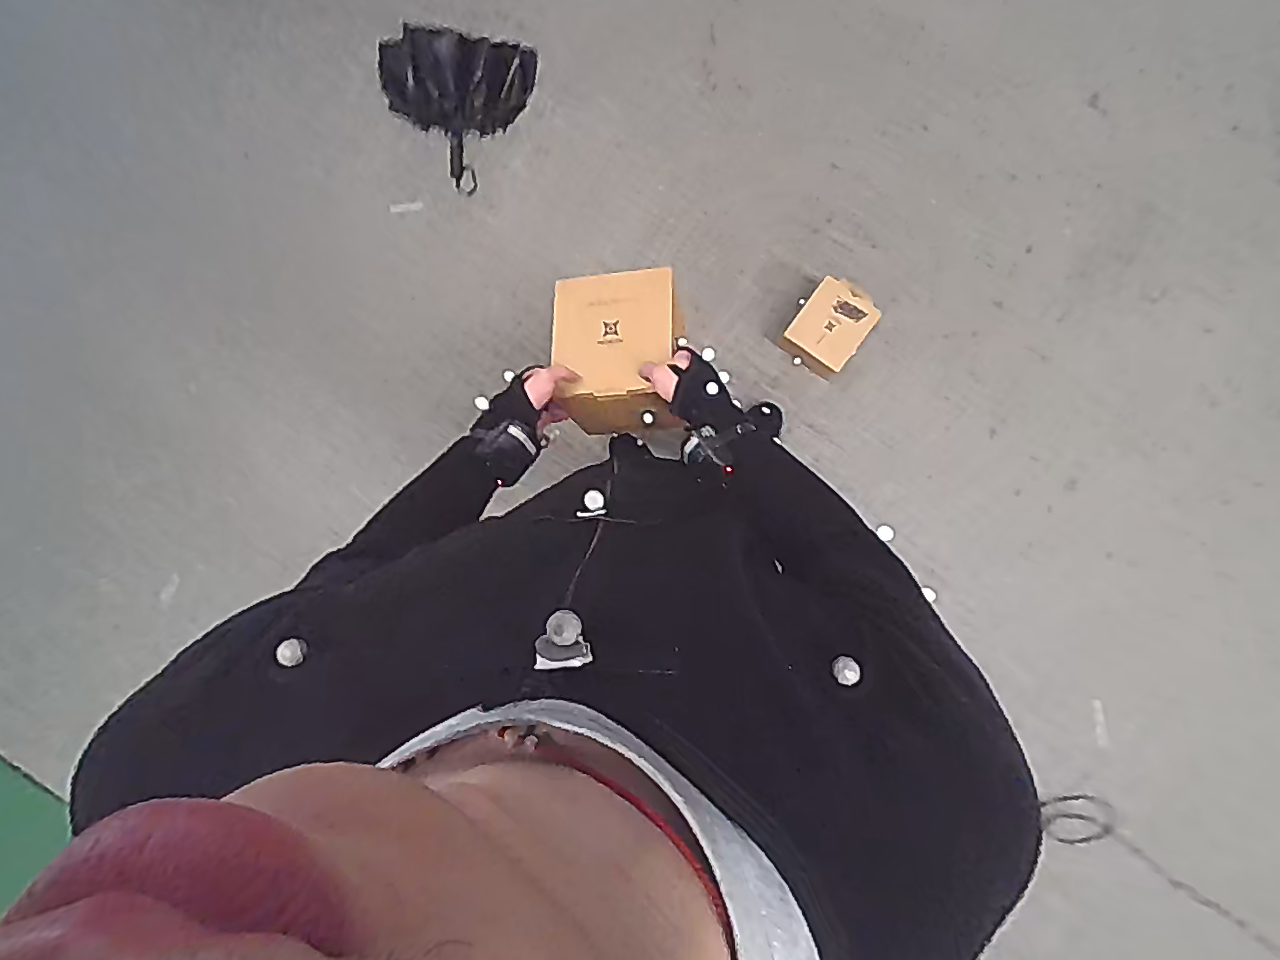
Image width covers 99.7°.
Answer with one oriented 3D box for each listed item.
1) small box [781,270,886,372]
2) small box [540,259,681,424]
[{"bbox_3d":[0.479,-0.394,1.374,0.168,0.176,0.179,37,99,2],"label":"small box"},{"bbox_3d":[-0.033,-0.187,0.785,0.168,0.176,0.179,-2,75,12],"label":"small box"}]
